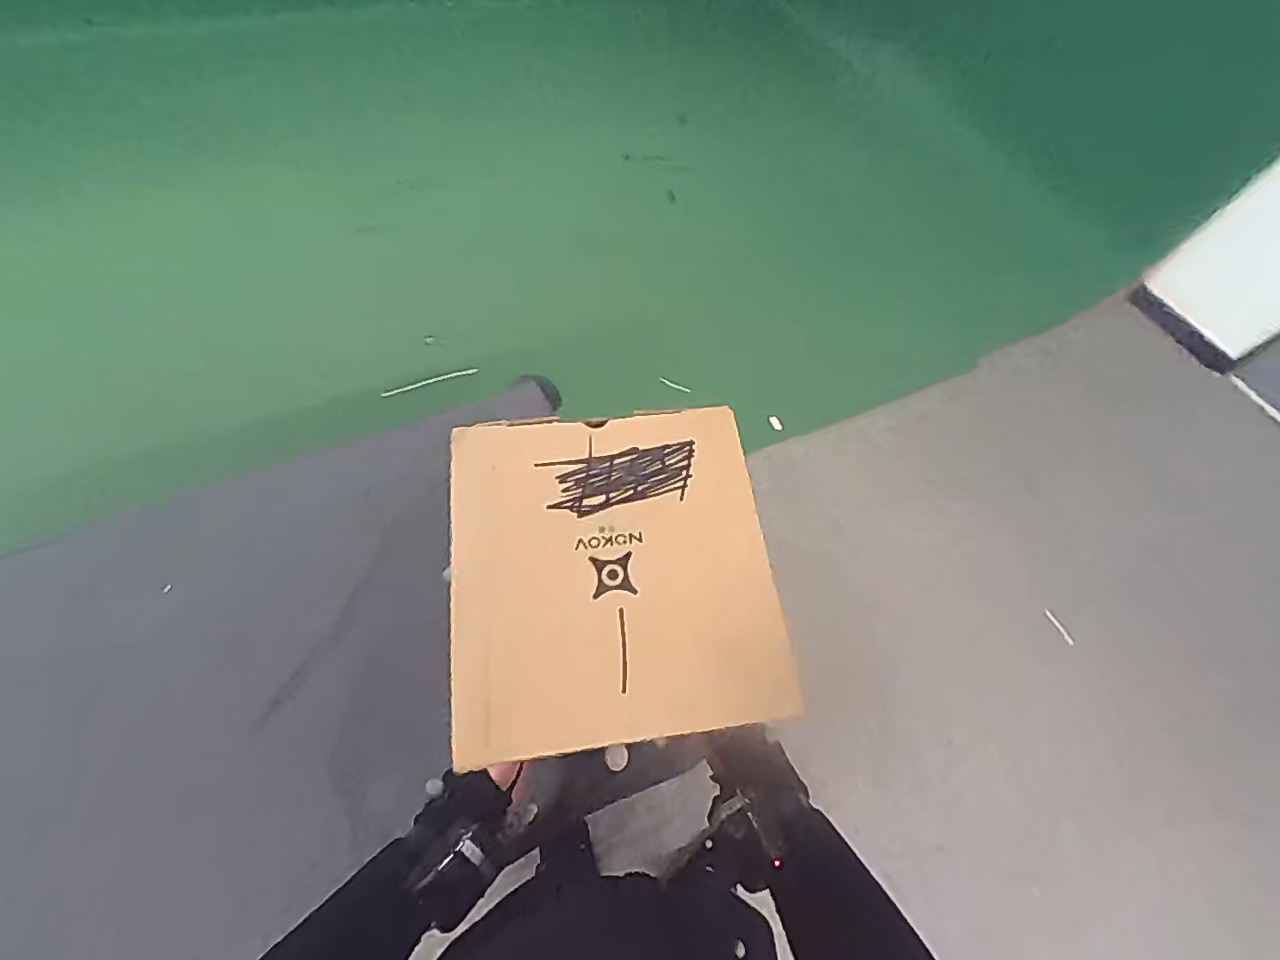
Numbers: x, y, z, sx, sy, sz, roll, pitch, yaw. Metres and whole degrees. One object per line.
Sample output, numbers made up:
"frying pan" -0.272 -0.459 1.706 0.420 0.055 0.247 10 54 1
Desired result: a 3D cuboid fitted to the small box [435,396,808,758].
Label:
"small box" -0.021 0.068 0.340 0.168 0.176 0.179 -4 66 -7
